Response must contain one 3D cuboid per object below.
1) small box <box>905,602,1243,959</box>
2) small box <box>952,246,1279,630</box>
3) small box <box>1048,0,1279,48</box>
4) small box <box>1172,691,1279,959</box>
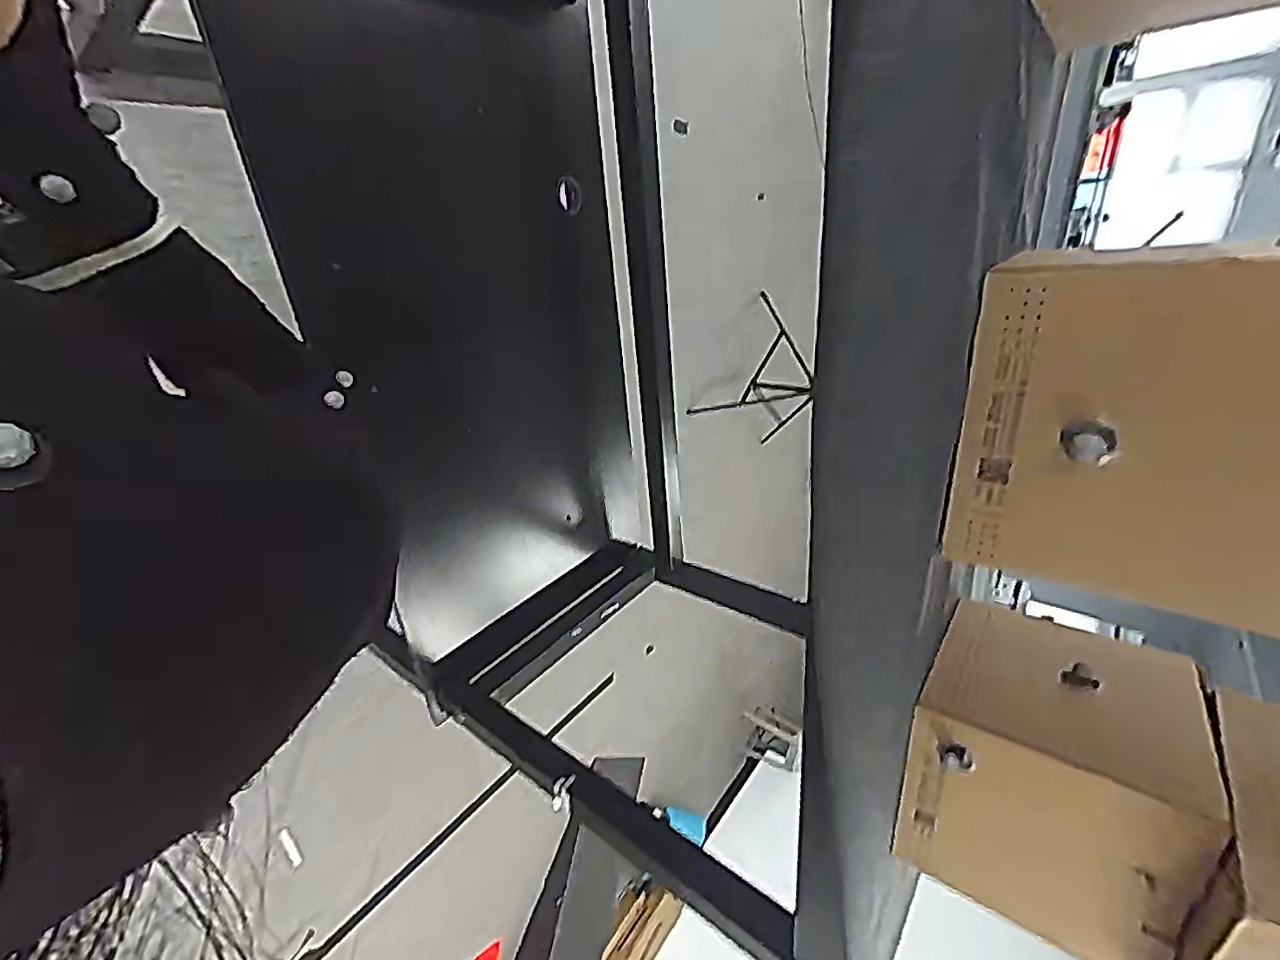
[{"bbox_3d":[0.329,0.227,0.440,0.179,0.176,0.168,-27,121,-47],"label":"small box"},{"bbox_3d":[0.300,-0.044,0.315,0.179,0.176,0.168,-31,124,-46],"label":"small box"},{"bbox_3d":[0.273,-0.292,0.203,0.179,0.176,0.168,-32,127,-44],"label":"small box"},{"bbox_3d":[0.437,0.268,0.321,0.179,0.176,0.168,-34,127,-43],"label":"small box"}]
